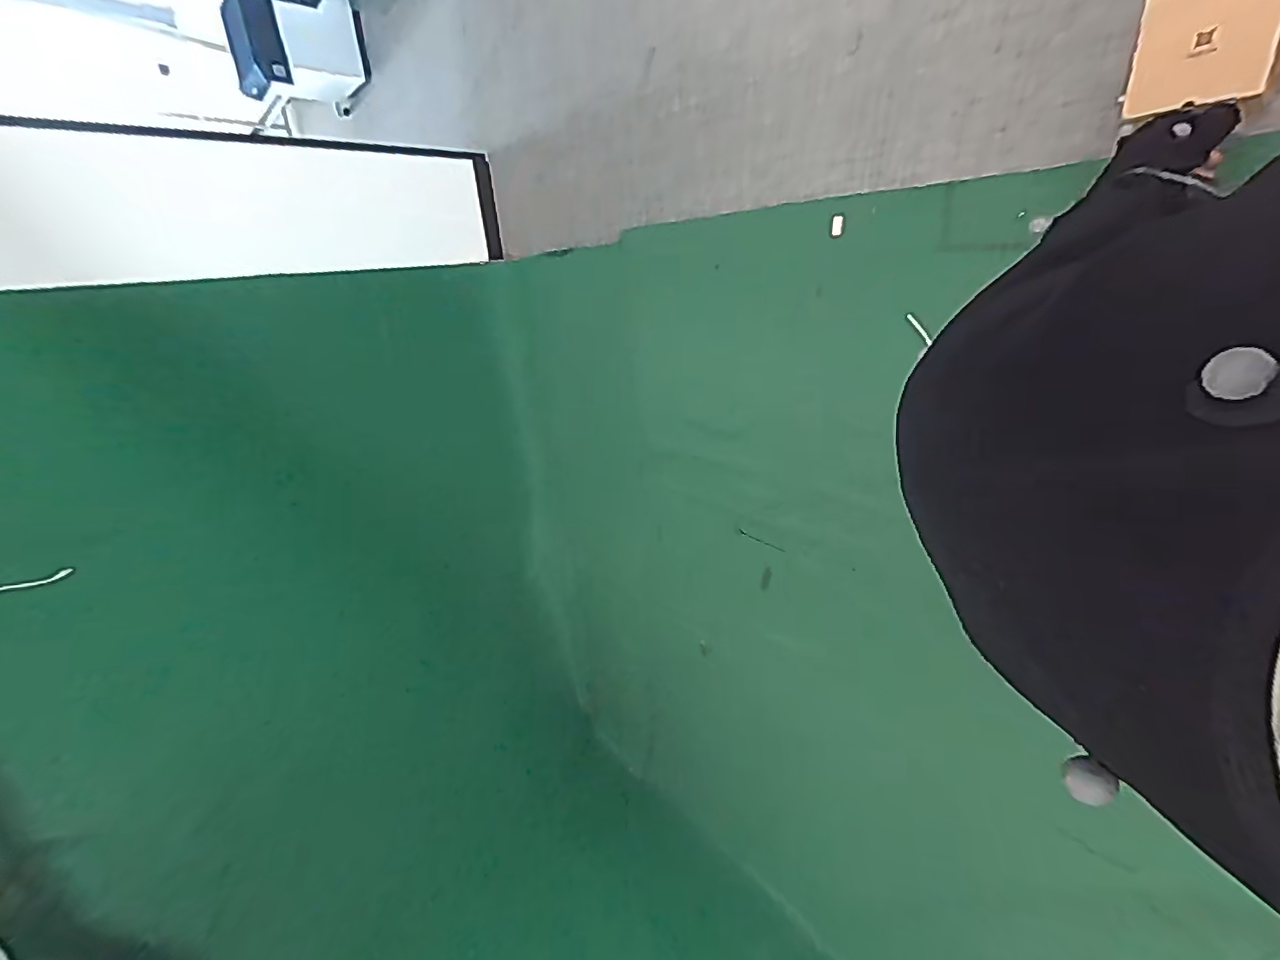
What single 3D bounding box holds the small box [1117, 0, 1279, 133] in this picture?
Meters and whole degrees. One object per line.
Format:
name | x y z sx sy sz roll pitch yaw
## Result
small box | 0.925 -0.698 0.891 0.168 0.176 0.179 17 120 45
